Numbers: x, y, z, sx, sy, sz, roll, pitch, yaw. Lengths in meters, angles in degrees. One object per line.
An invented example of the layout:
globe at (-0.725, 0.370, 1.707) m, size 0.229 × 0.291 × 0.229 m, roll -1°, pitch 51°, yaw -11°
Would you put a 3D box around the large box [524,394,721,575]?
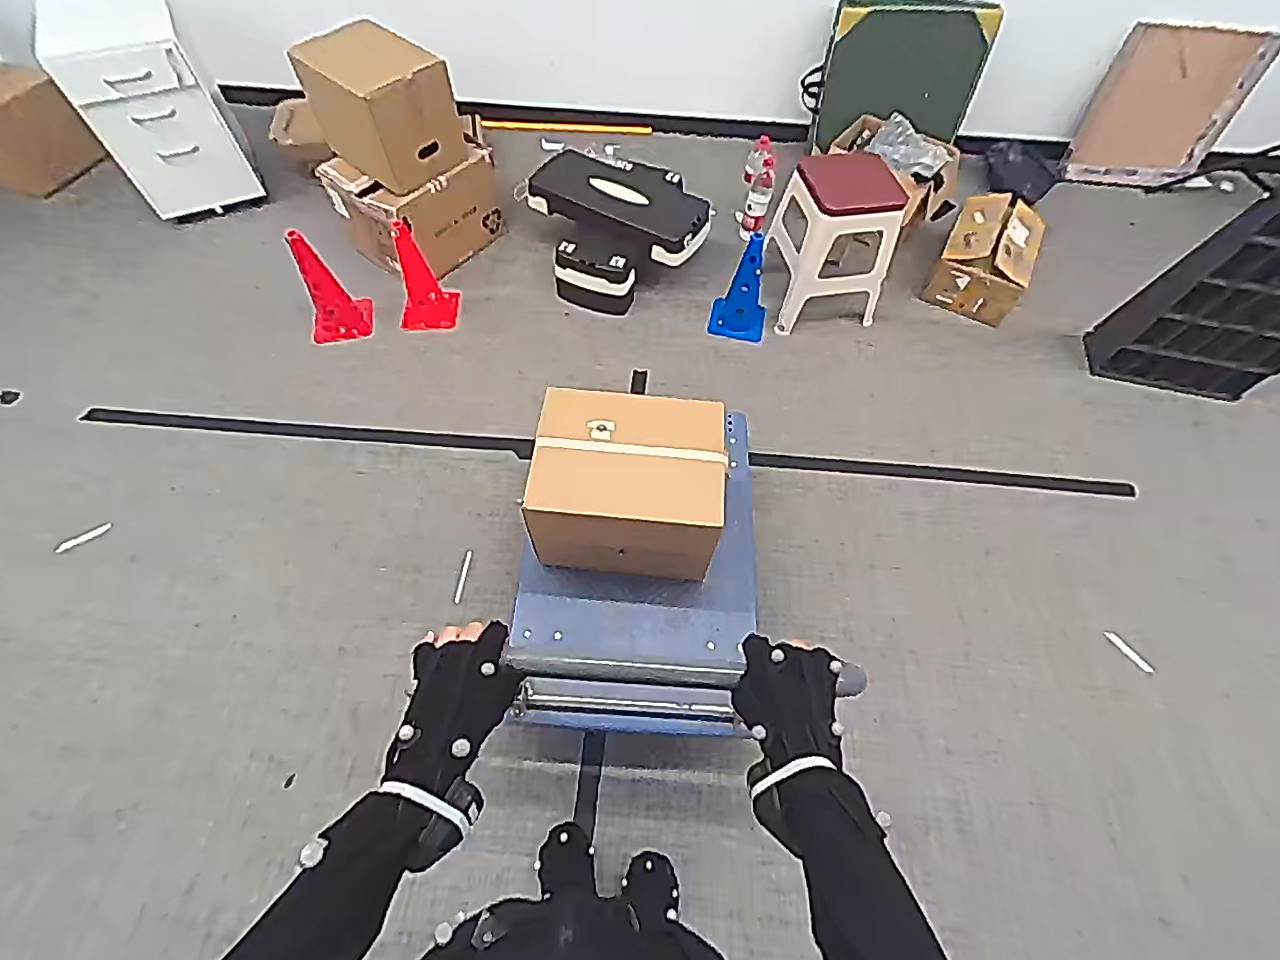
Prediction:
large box at (-0.026, 0.021, 1.287) m, size 0.408 × 0.320 × 0.320 m, roll 5°, pitch 60°, yaw 2°
